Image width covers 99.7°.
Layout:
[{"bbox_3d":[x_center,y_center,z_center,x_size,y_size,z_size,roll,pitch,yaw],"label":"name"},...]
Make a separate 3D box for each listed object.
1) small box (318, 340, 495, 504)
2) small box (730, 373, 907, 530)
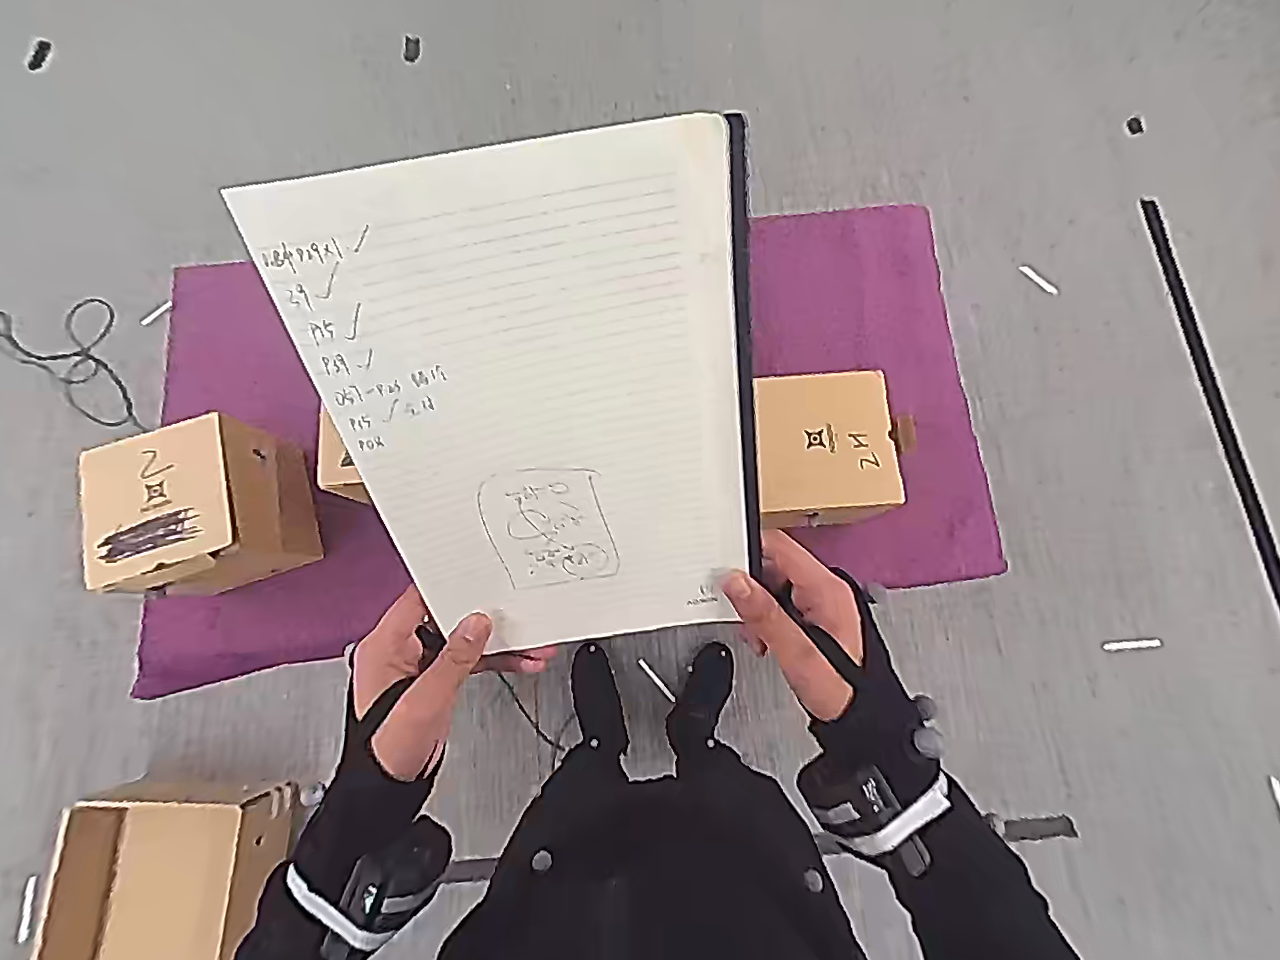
[{"bbox_3d":[-0.296,-0.066,0.722,0.168,0.176,0.179,-4,77,-1],"label":"small box"},{"bbox_3d":[0.216,-0.028,0.708,0.179,0.176,0.168,-3,78,0],"label":"small box"}]
